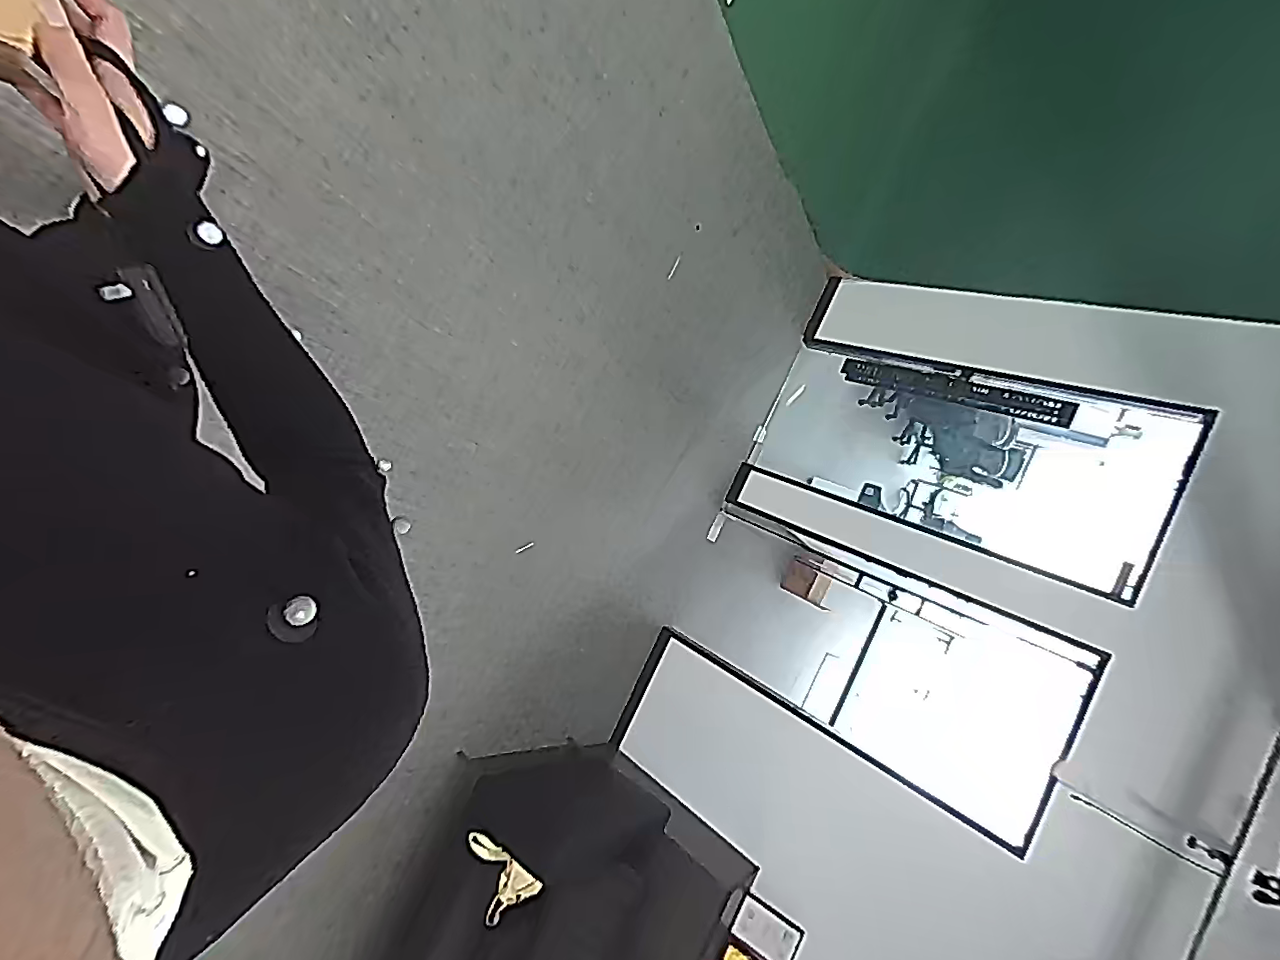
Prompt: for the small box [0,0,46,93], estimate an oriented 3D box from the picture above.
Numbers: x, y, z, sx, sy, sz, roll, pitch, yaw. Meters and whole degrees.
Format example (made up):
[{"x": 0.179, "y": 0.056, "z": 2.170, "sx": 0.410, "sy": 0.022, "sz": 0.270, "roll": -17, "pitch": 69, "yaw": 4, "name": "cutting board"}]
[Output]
[{"x": -0.436, "y": -0.343, "z": 0.281, "sx": 0.168, "sy": 0.176, "sz": 0.179, "roll": 3, "pitch": 106, "yaw": -53, "name": "small box"}]
